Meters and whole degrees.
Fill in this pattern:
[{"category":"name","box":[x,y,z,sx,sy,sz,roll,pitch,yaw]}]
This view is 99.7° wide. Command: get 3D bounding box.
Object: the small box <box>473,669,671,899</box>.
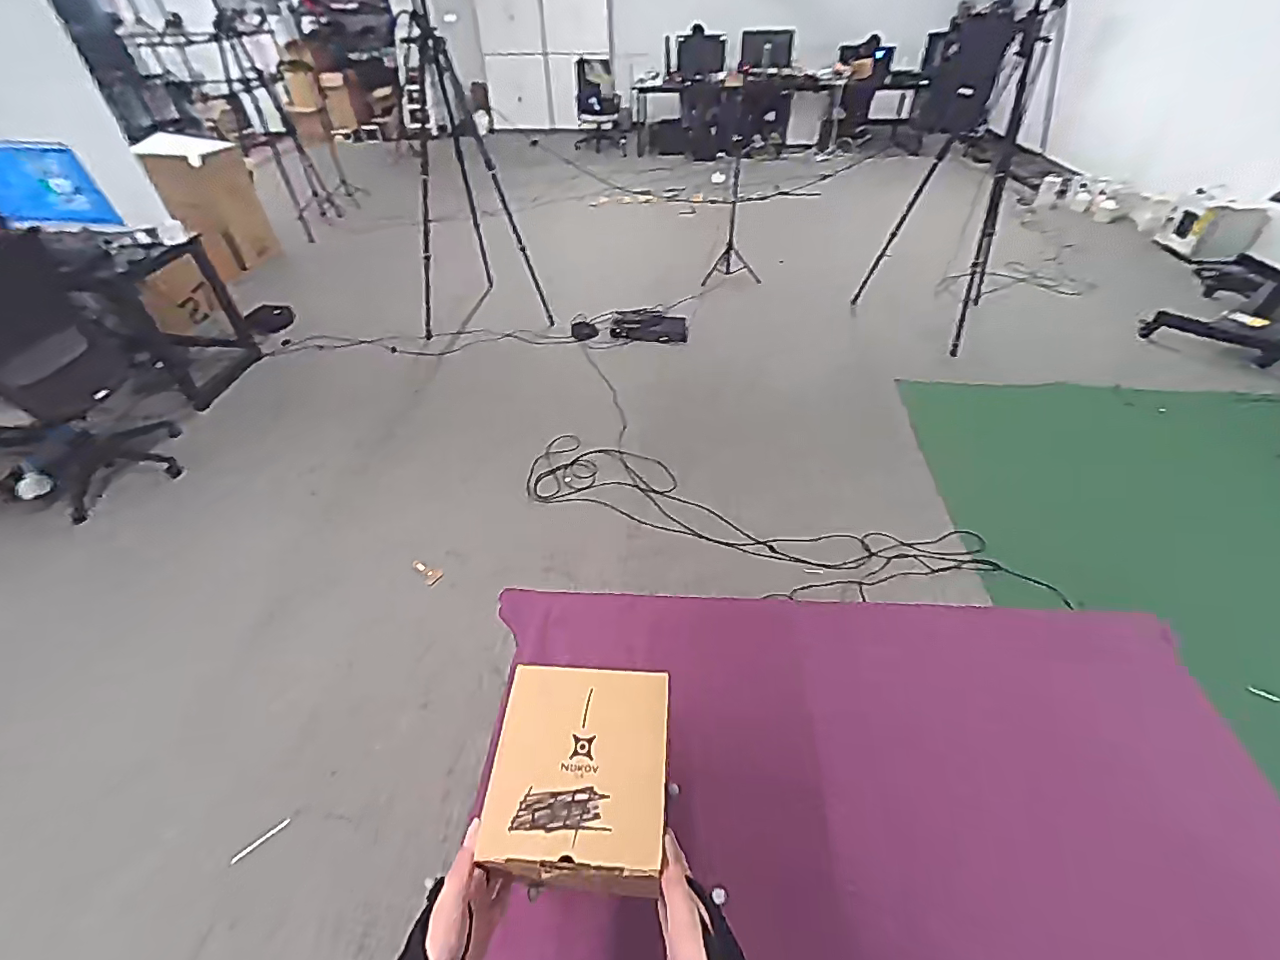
[{"category":"small box","box":[-0.053,0.322,0.571,0.168,0.176,0.179,1,46,5]}]
